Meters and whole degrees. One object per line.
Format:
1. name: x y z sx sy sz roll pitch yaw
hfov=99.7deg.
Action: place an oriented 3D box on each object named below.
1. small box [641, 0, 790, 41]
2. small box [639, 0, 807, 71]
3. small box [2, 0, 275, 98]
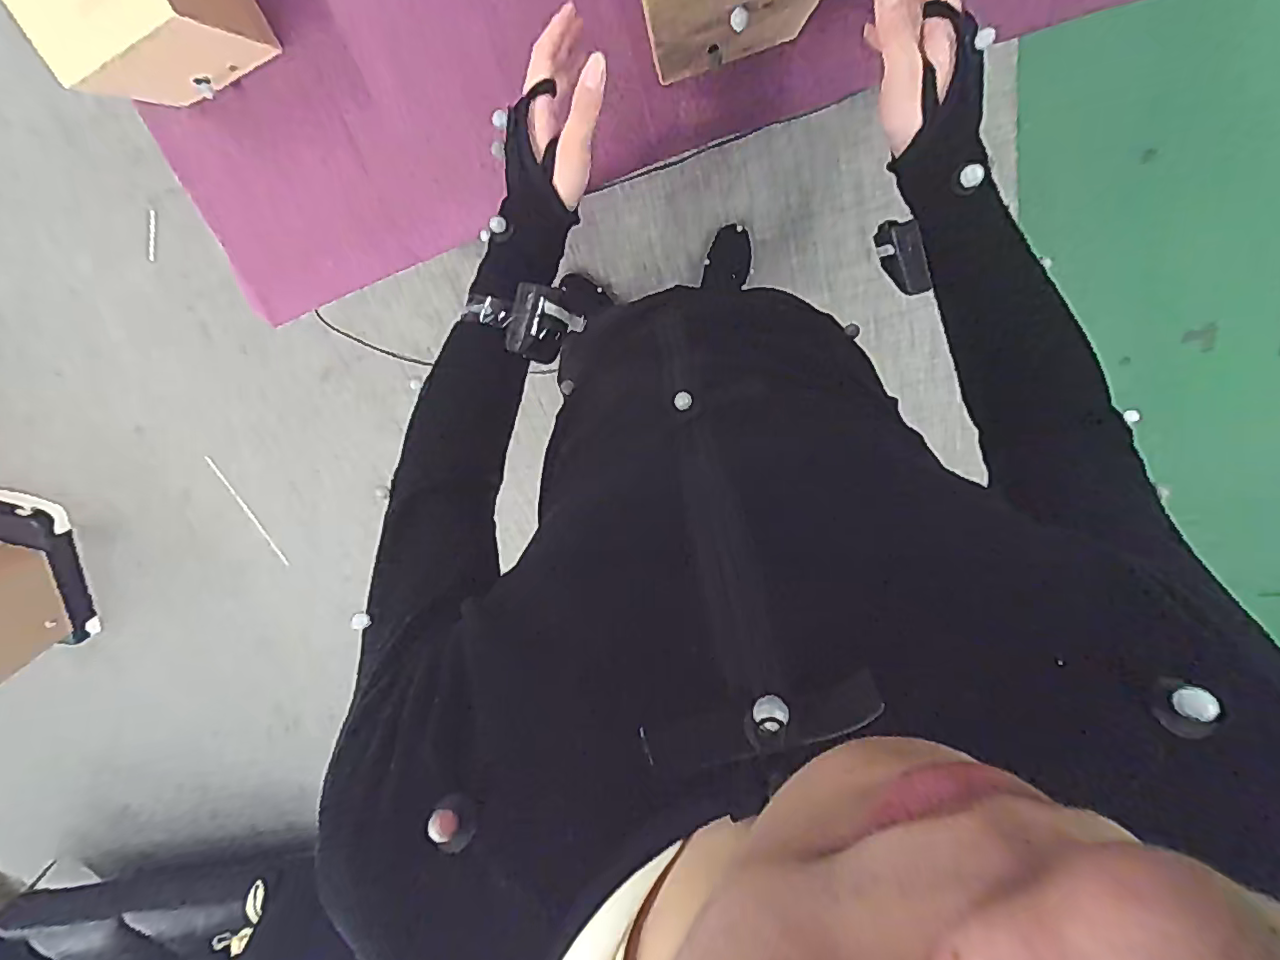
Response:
1. small box: 0.061 -0.467 0.391 0.168 0.176 0.179 -11 115 12
2. small box: 0.074 -0.540 0.538 0.168 0.176 0.179 -12 115 12
3. small box: -0.560 -0.555 0.587 0.168 0.176 0.179 -16 116 14
